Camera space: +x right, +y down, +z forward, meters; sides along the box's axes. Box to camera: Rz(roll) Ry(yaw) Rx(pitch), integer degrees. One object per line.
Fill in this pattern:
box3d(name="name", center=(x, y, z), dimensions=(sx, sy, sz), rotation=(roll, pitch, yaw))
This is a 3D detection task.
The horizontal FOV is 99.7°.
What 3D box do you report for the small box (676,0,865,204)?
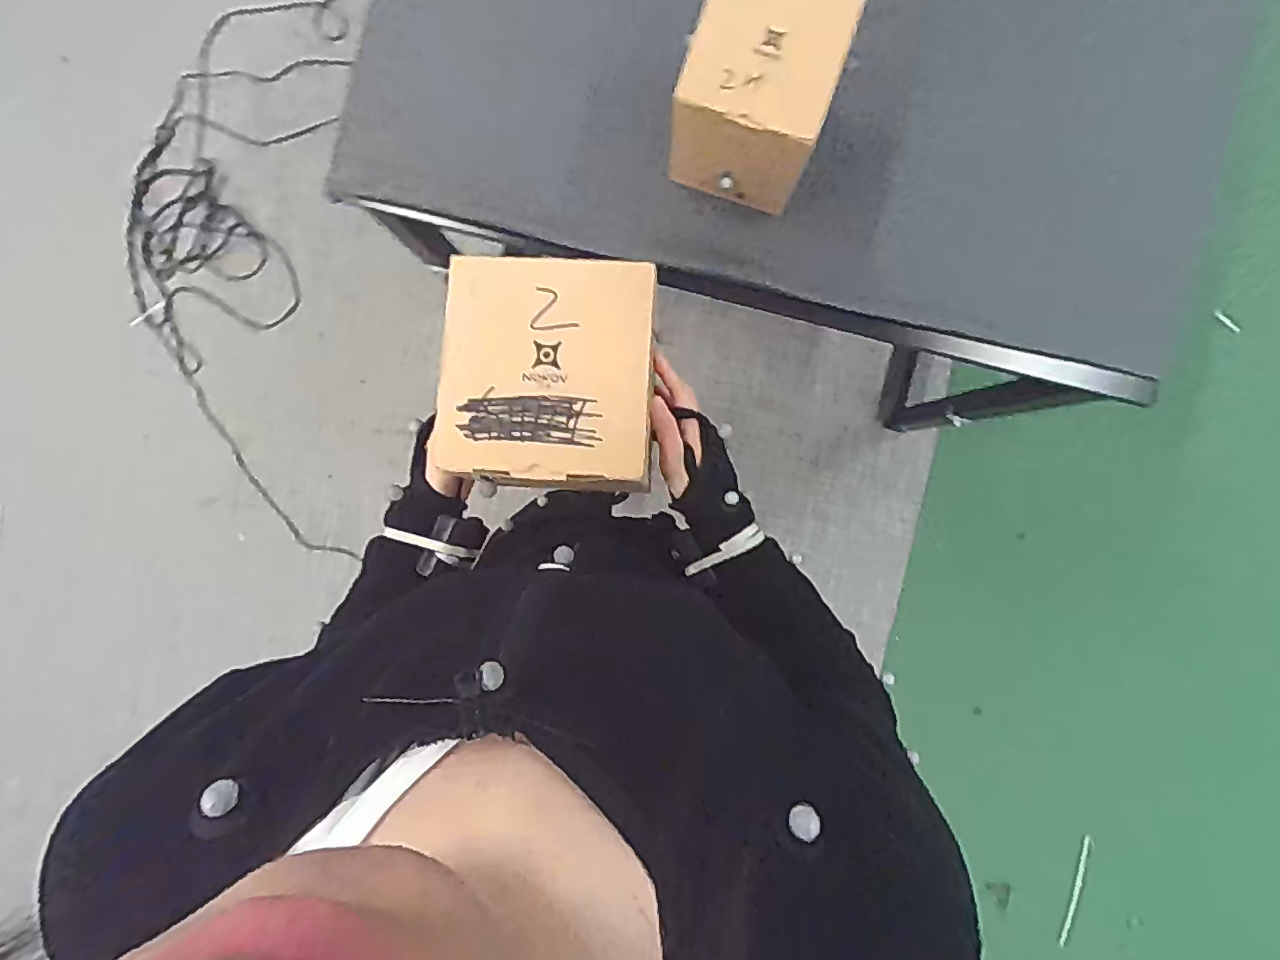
box3d(name="small box", center=(0.145, -0.484, 0.667), dimensions=(0.168, 0.176, 0.179), rotation=(19, 91, 1))
